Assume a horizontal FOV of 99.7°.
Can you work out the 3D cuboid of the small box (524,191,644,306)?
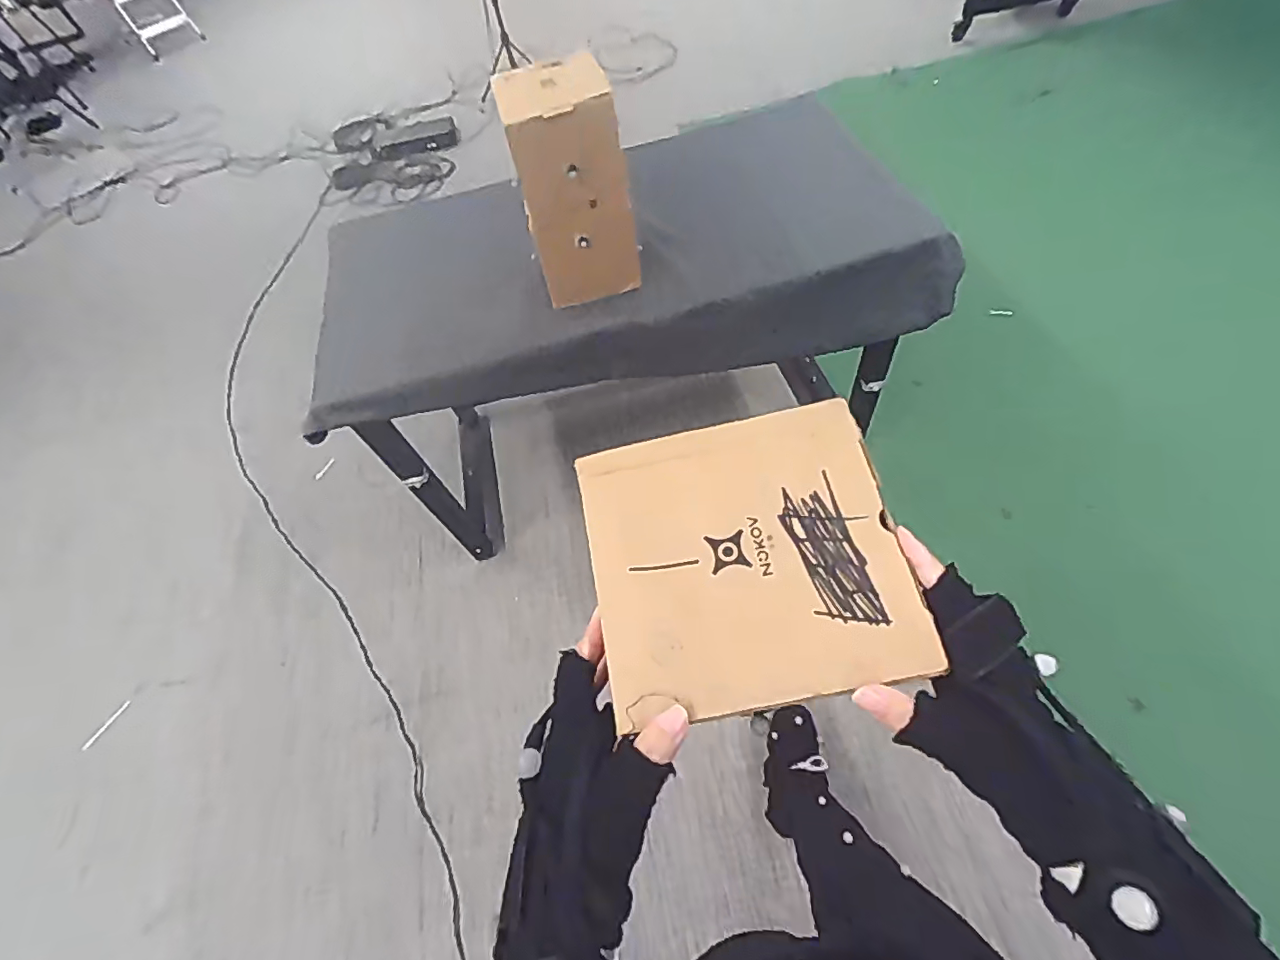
[{"bbox_3d":[-0.100,-0.452,1.007,0.179,0.176,0.168,-15,58,-1],"label":"small box"}]

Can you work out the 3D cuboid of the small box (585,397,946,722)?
[{"bbox_3d":[0.070,0.067,0.386,0.179,0.176,0.168,-12,66,2],"label":"small box"}]

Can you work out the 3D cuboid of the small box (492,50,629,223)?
[{"bbox_3d":[-0.122,-0.542,0.872,0.168,0.176,0.179,-17,58,-1],"label":"small box"}]
